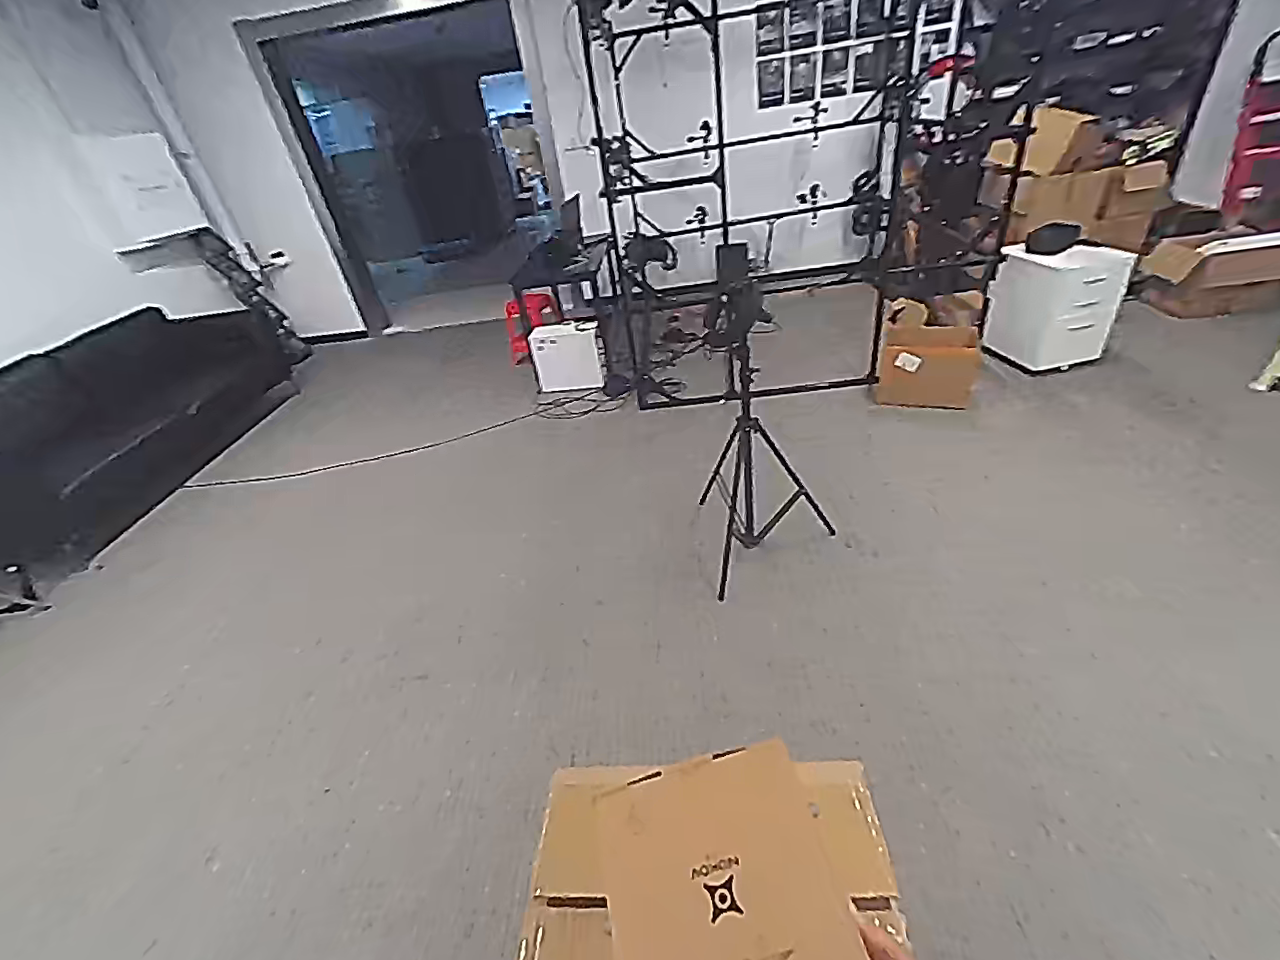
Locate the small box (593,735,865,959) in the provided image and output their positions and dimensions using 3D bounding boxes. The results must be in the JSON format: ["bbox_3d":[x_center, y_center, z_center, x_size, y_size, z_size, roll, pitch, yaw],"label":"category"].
[{"bbox_3d":[0.069,0.347,0.446,0.168,0.176,0.179,-17,46,-1],"label":"small box"}]
